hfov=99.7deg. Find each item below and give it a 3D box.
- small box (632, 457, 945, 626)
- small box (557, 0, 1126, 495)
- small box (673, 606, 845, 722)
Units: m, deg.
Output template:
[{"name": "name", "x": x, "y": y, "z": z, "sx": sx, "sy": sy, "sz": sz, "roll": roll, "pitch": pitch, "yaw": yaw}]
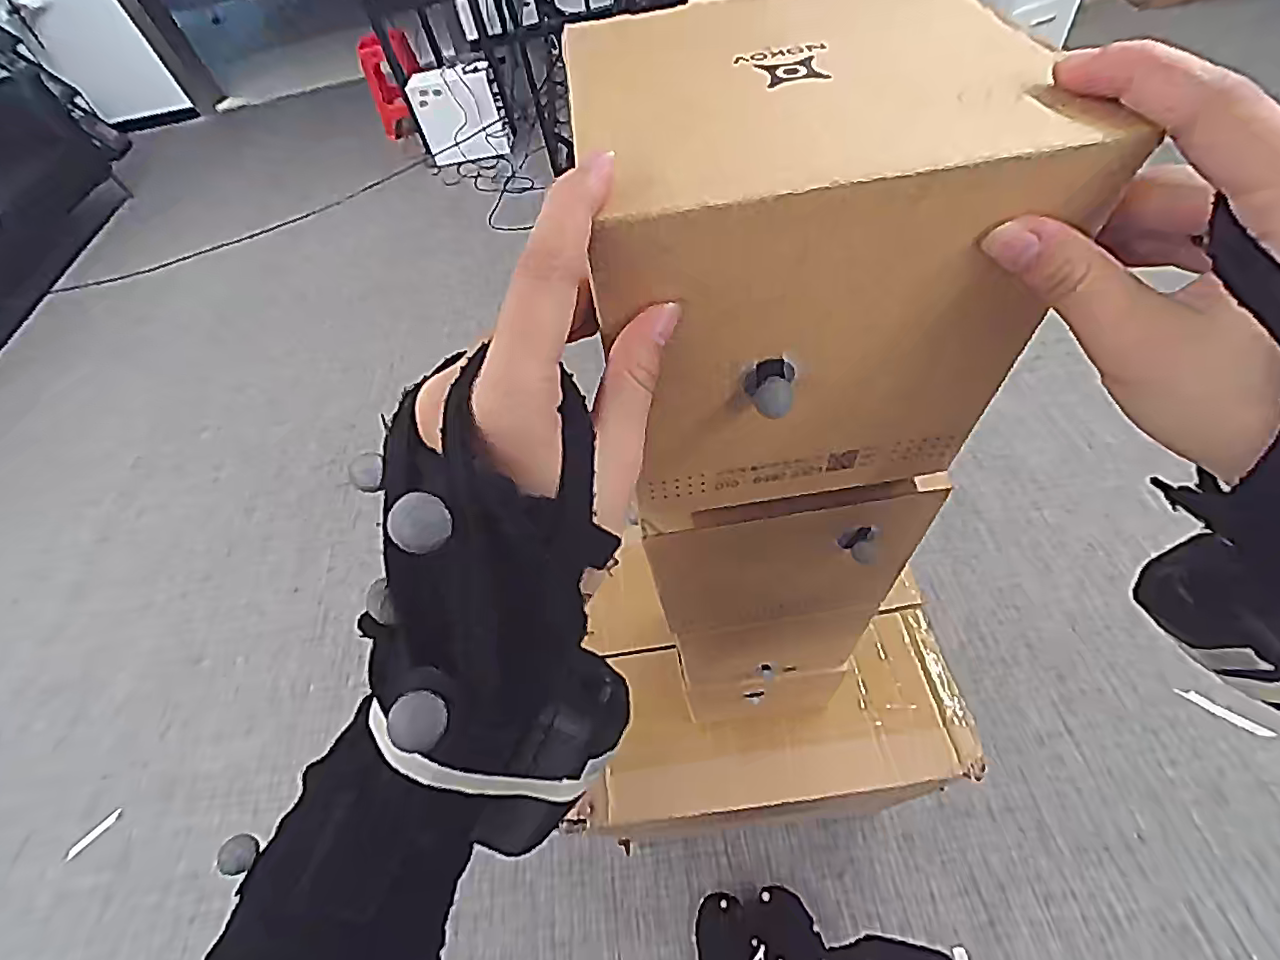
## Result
[{"name": "small box", "x": 0.087, "y": -0.003, "z": 0.411, "sx": 0.179, "sy": 0.176, "sz": 0.168, "roll": -10, "pitch": 54, "yaw": 3}, {"name": "small box", "x": 0.060, "y": -0.106, "z": 0.268, "sx": 0.168, "sy": 0.176, "sz": 0.179, "roll": -9, "pitch": 54, "yaw": 1}, {"name": "small box", "x": 0.134, "y": 0.191, "z": 0.674, "sx": 0.179, "sy": 0.176, "sz": 0.168, "roll": -9, "pitch": 54, "yaw": 3}]
